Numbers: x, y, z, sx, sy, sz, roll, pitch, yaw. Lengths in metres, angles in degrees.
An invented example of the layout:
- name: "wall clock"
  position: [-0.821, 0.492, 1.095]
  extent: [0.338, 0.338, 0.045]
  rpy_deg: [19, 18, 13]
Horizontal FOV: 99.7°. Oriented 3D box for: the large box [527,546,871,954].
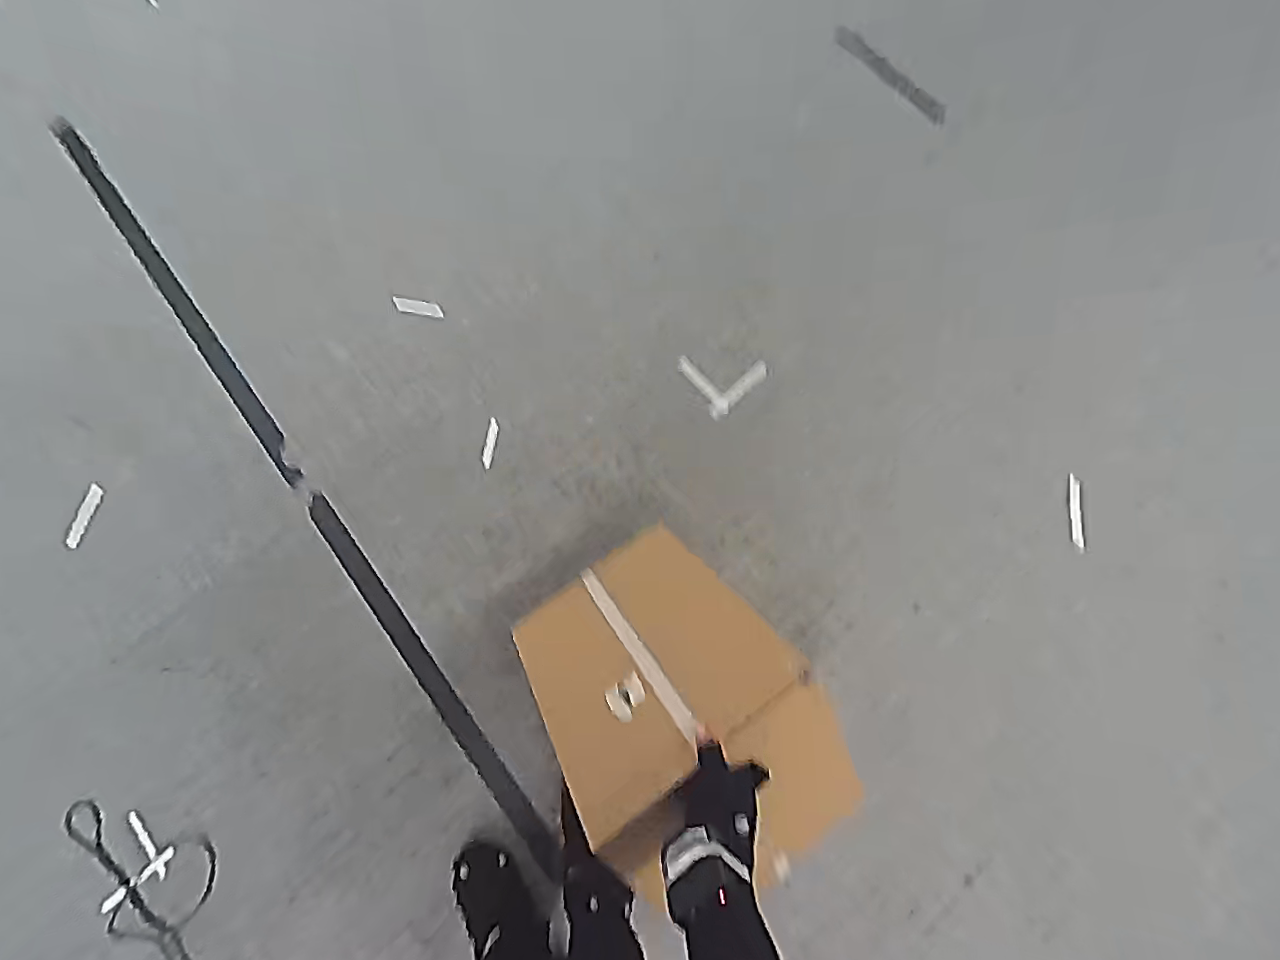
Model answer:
- name: "large box"
  position: [0.074, 0.376, 0.838]
  extent: [0.320, 0.408, 0.320]
  rpy_deg: [-34, 121, -10]
